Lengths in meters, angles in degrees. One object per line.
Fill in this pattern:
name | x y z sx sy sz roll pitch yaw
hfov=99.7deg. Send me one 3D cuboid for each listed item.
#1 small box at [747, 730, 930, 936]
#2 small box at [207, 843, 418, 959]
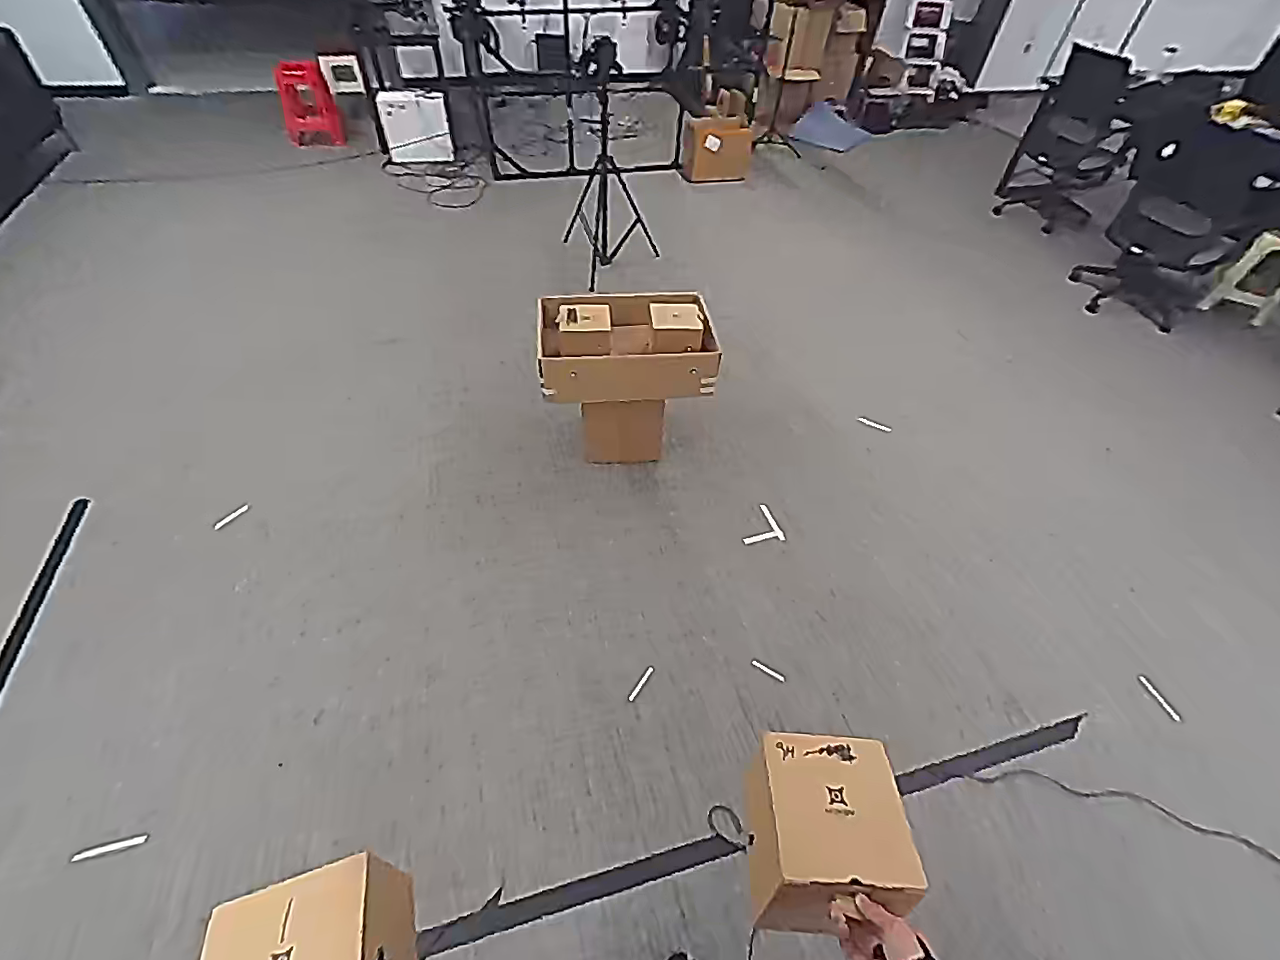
small box | 0.240 0.459 0.705 0.168 0.176 0.179 5 36 1
small box | -0.360 0.556 0.614 0.168 0.176 0.179 -14 45 -11
